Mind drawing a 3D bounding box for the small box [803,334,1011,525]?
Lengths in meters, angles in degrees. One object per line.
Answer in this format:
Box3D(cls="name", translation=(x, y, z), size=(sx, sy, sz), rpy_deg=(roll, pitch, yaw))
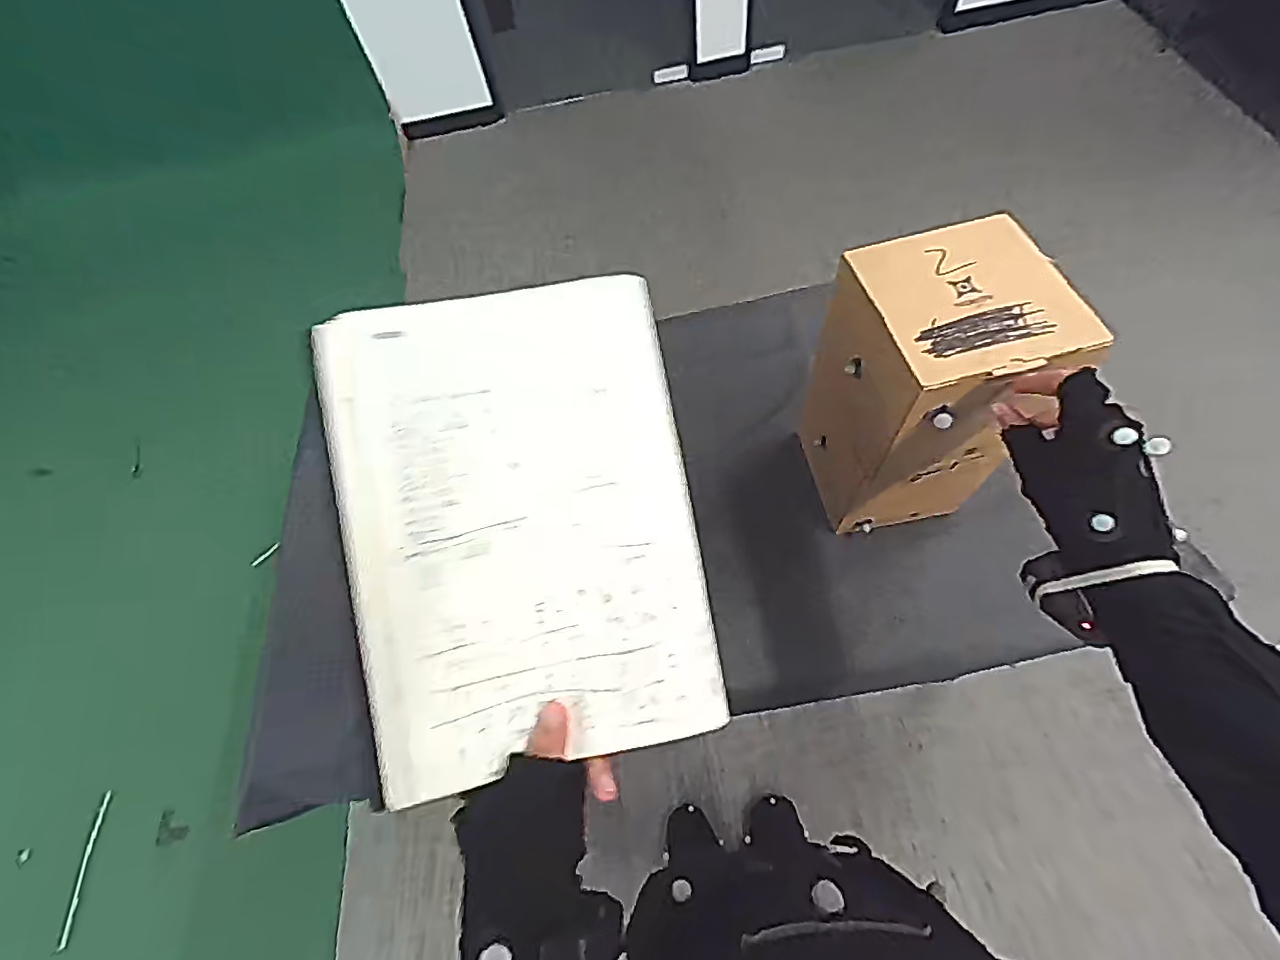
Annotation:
Box3D(cls="small box", translation=(0.325, -0.054, 0.702), size=(0.168, 0.176, 0.179), rpy_deg=(-11, 60, 1))
